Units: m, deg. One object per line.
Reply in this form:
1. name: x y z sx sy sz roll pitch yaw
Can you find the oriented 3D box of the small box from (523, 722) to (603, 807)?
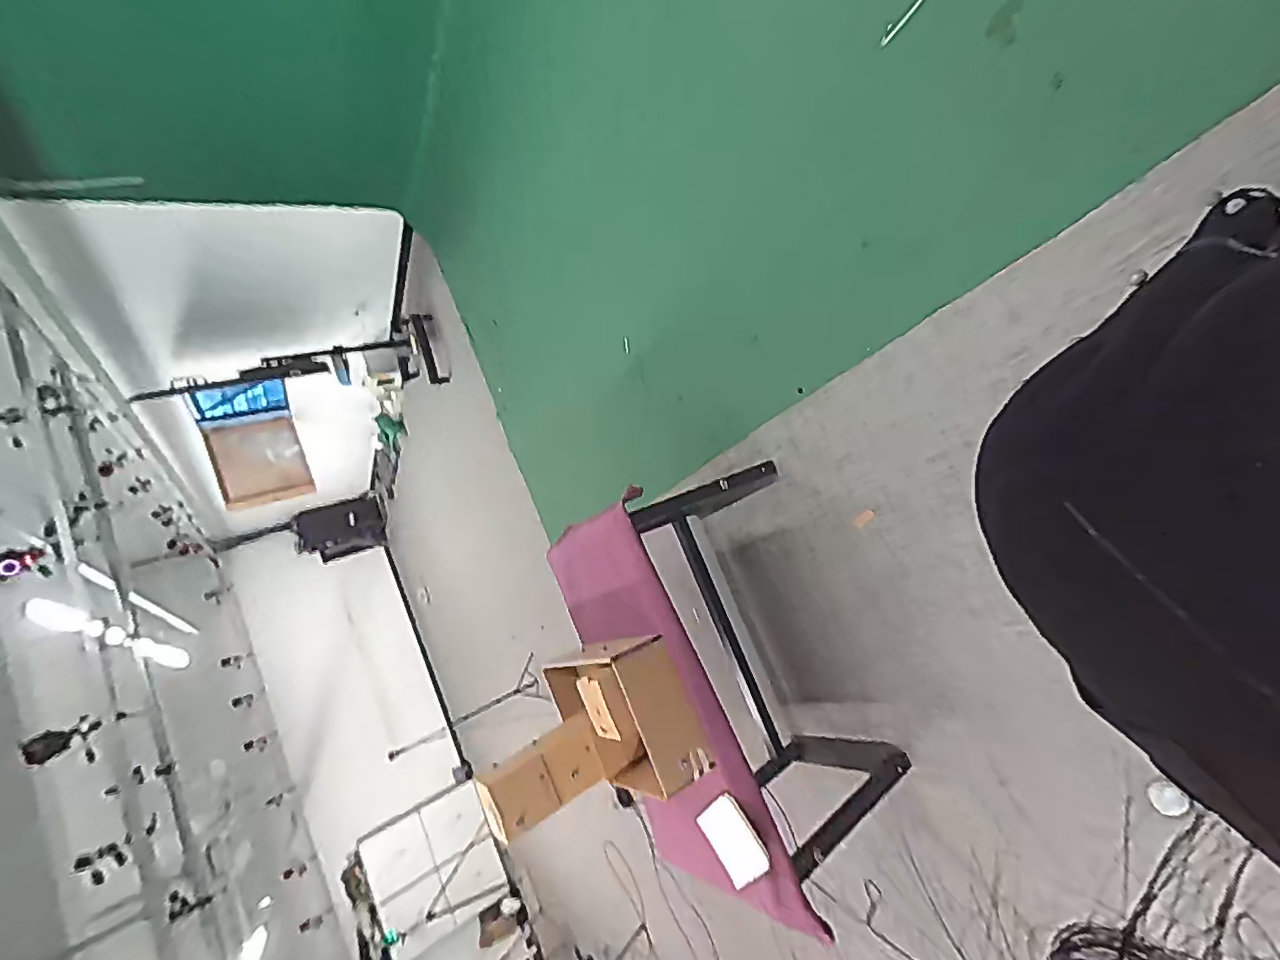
1. small box: -0.234 0.871 1.675 0.179 0.176 0.168 -31 80 54
